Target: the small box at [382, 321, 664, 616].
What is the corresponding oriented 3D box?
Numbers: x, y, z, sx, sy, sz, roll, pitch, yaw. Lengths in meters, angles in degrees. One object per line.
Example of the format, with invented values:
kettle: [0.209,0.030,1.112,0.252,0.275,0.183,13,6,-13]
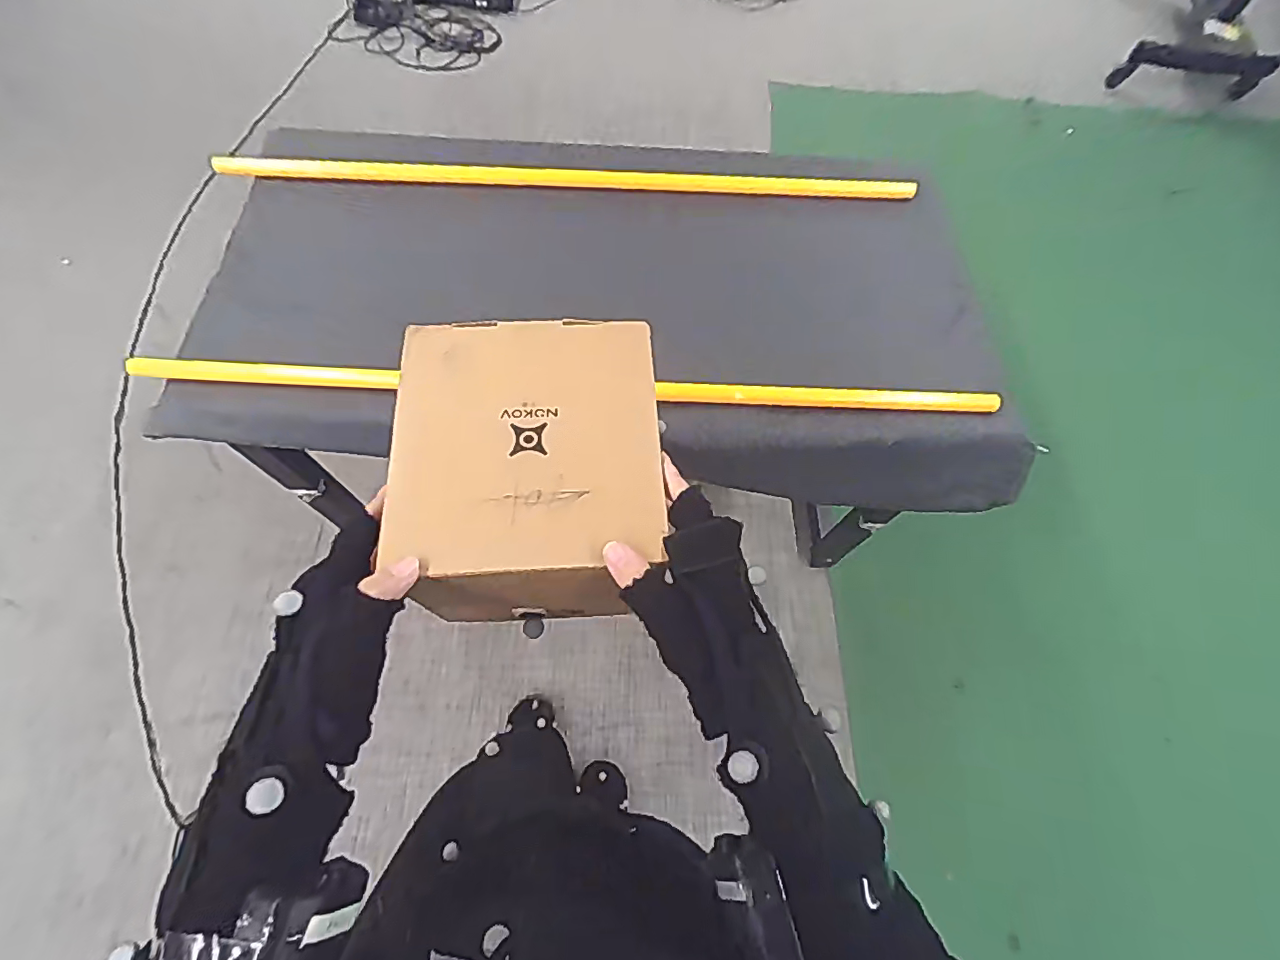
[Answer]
small box: [-0.076,-0.001,0.420,0.168,0.176,0.179,-3,67,-4]
